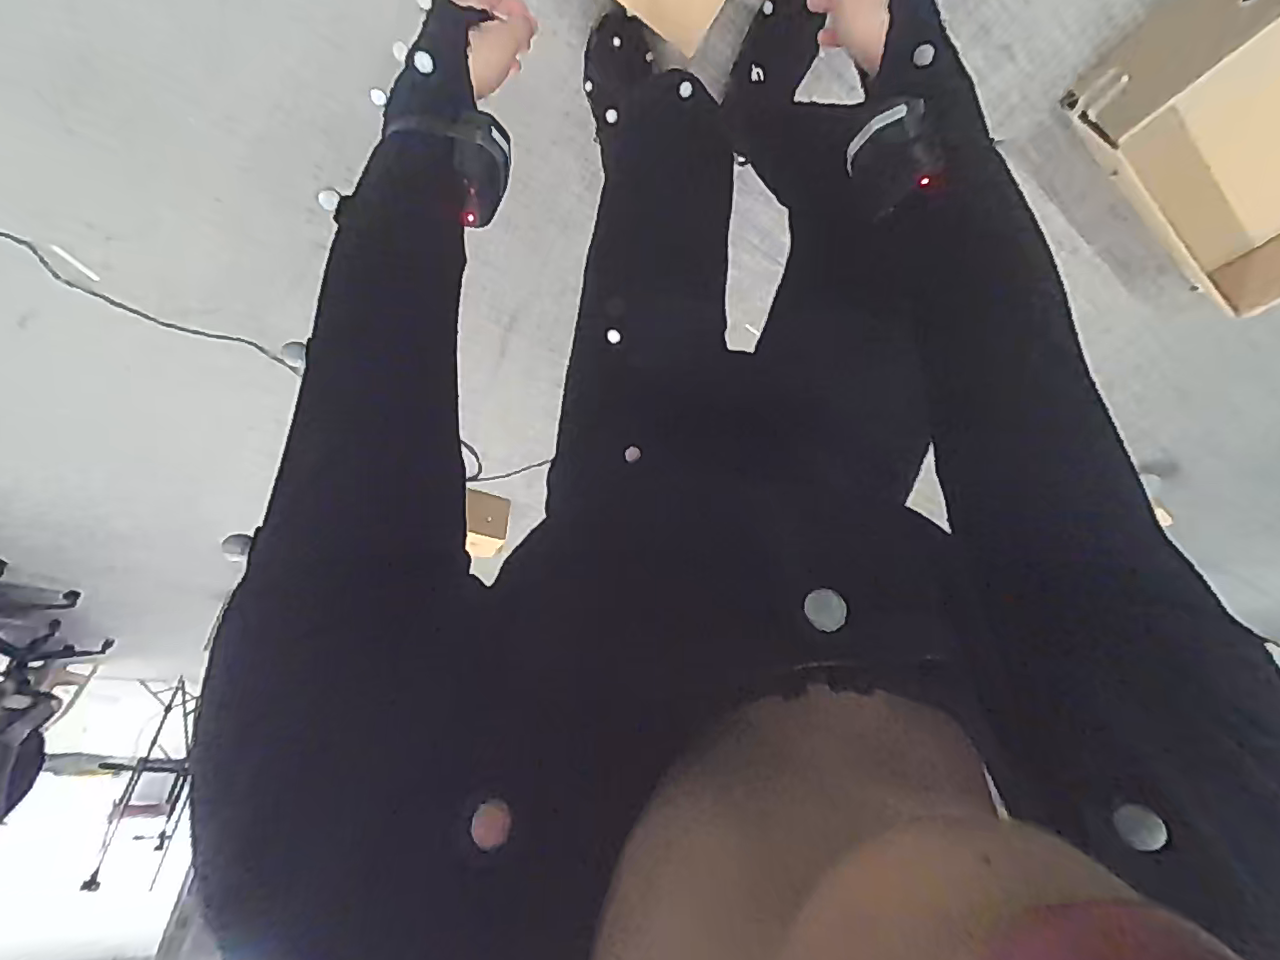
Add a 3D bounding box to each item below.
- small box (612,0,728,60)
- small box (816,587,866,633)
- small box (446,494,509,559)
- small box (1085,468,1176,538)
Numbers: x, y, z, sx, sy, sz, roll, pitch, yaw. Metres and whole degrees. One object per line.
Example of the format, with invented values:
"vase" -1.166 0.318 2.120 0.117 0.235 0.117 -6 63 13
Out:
"small box" 0.039 -0.700 0.687 0.179 0.176 0.168 17 144 -27
"small box" 1.028 0.672 2.787 0.168 0.176 0.179 20 140 -28
"small box" -0.591 0.169 1.983 0.179 0.176 0.168 17 142 -26
"small box" 1.715 0.080 1.896 0.179 0.176 0.168 24 139 -32
